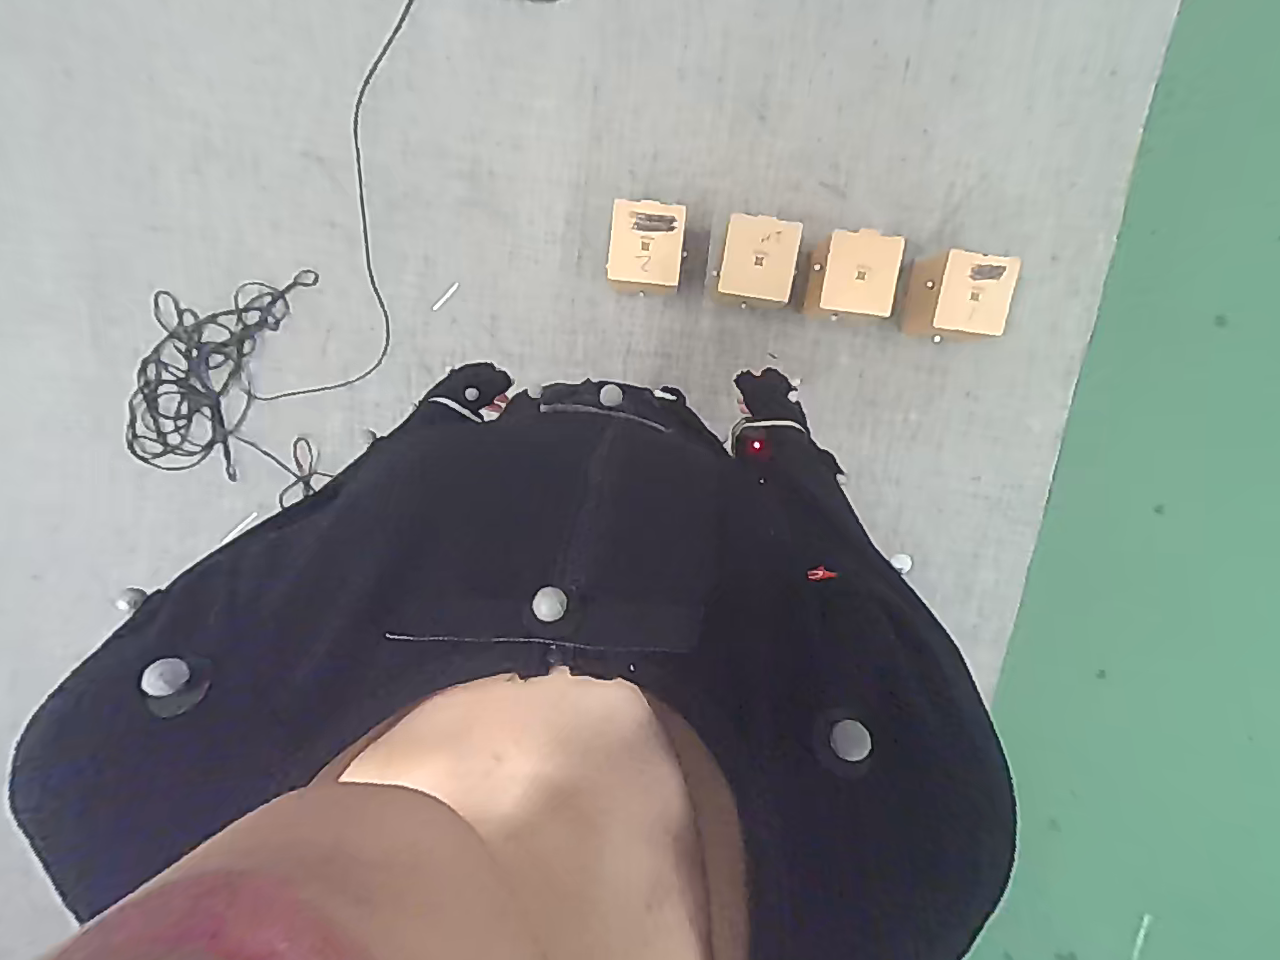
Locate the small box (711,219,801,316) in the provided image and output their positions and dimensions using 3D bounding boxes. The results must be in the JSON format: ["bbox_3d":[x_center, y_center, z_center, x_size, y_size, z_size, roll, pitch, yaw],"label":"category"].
[{"bbox_3d":[0.270,-0.500,1.300,0.168,0.176,0.179,8,100,-1],"label":"small box"}]

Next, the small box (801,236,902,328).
[{"bbox_3d":[0.500,-0.469,1.305,0.168,0.176,0.179,6,99,-1],"label":"small box"}]

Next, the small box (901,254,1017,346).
[{"bbox_3d":[0.760,-0.427,1.308,0.168,0.176,0.179,7,101,-1],"label":"small box"}]
